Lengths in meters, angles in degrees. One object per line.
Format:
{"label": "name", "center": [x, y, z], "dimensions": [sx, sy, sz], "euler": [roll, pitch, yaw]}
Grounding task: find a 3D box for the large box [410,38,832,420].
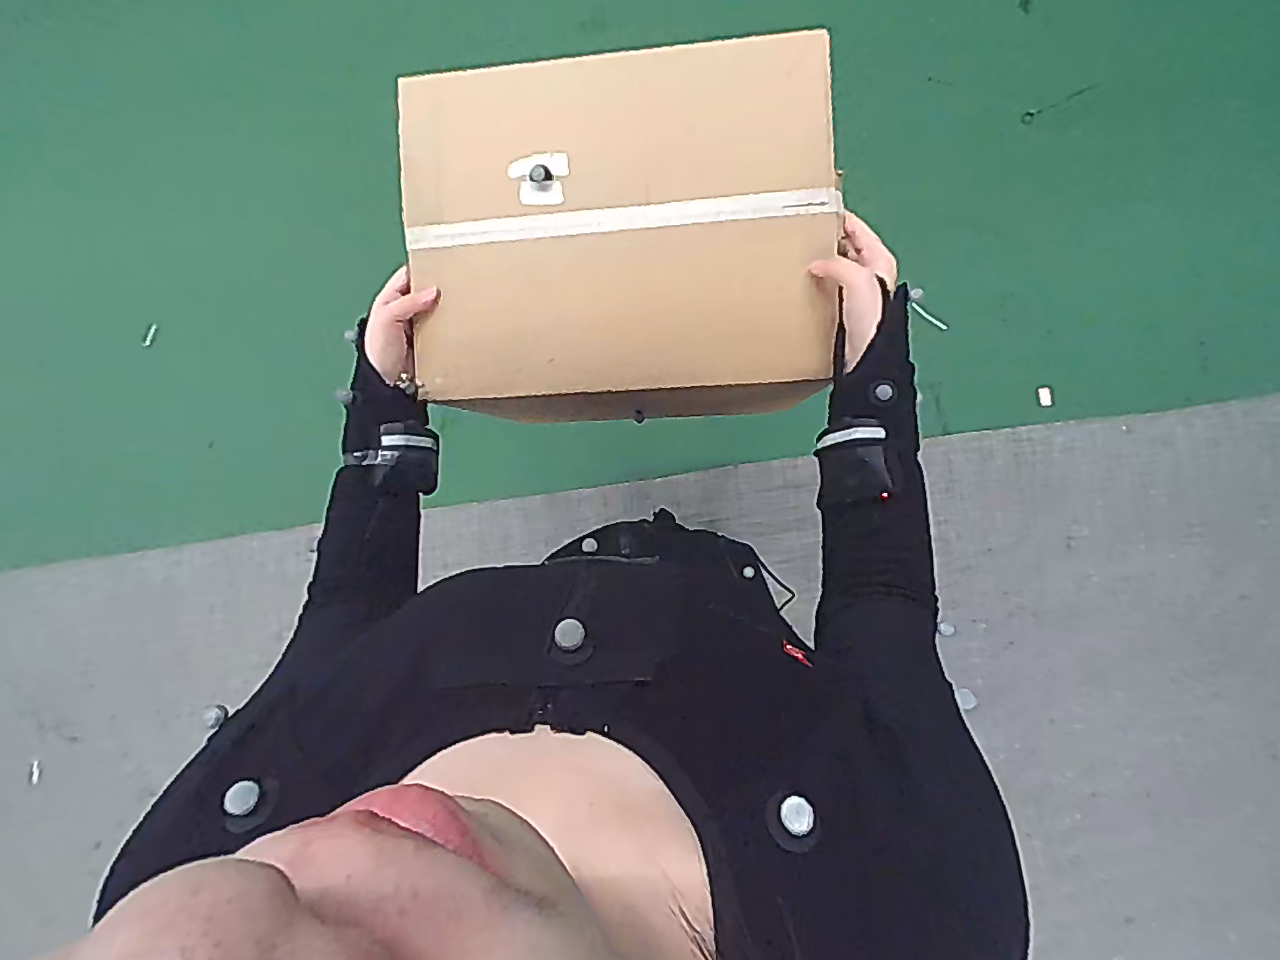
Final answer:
{"label": "large box", "center": [-0.007, -0.247, 0.667], "dimensions": [0.408, 0.320, 0.320], "euler": [-2, 91, 7]}
